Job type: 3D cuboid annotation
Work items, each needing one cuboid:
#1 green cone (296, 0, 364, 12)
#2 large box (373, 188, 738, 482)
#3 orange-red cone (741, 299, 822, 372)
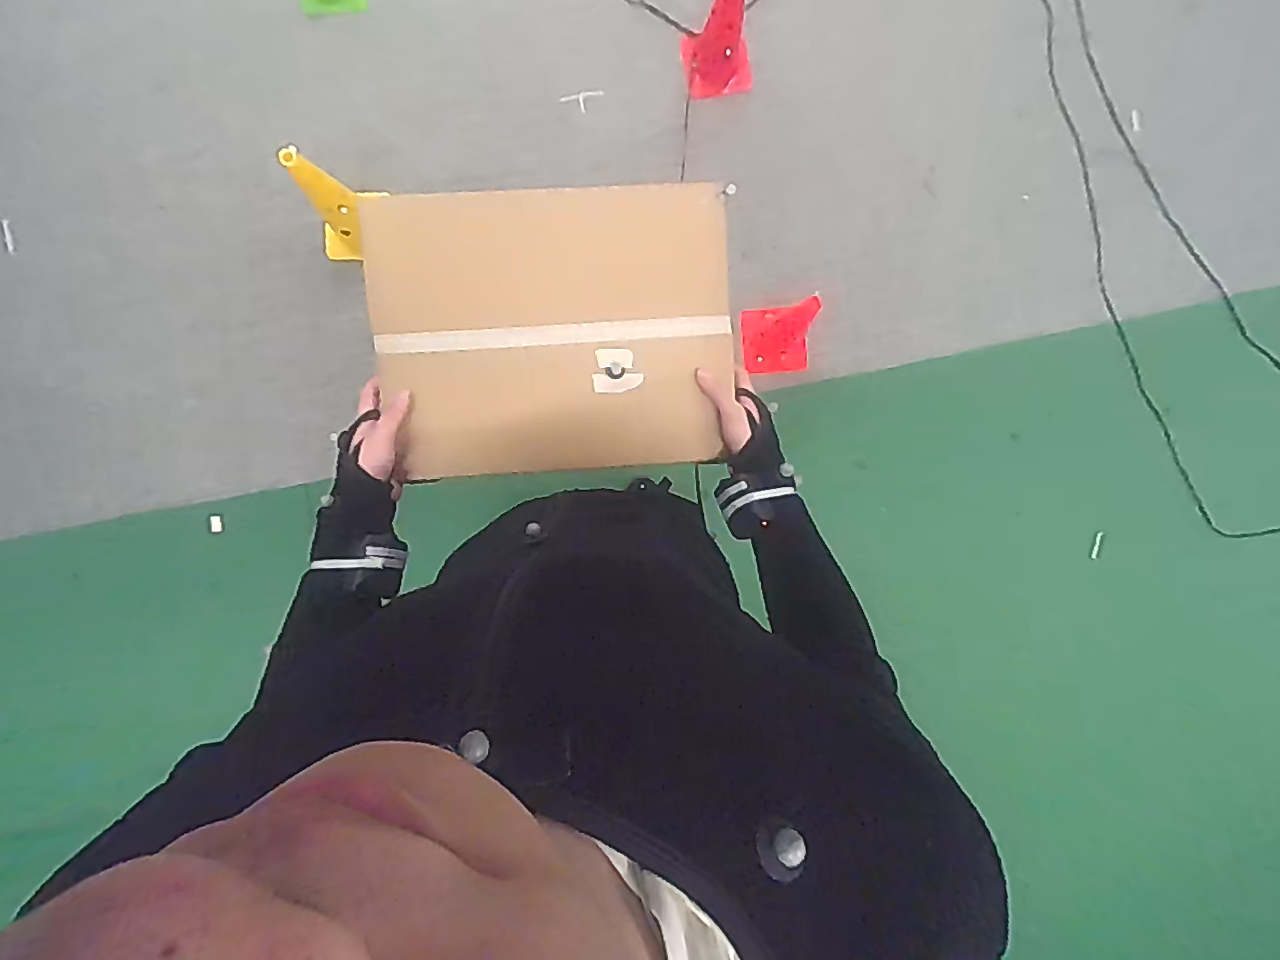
[{"bbox_3d":[-0.929,-1.501,1.442,0.200,0.368,0.202,-5,92,-2],"label":"green cone"},{"bbox_3d":[-0.100,-0.184,0.773,0.408,0.320,0.320,-4,98,-3],"label":"large box"},{"bbox_3d":[0.419,-0.429,1.492,0.199,0.360,0.198,-4,91,-4],"label":"orange-red cone"}]
